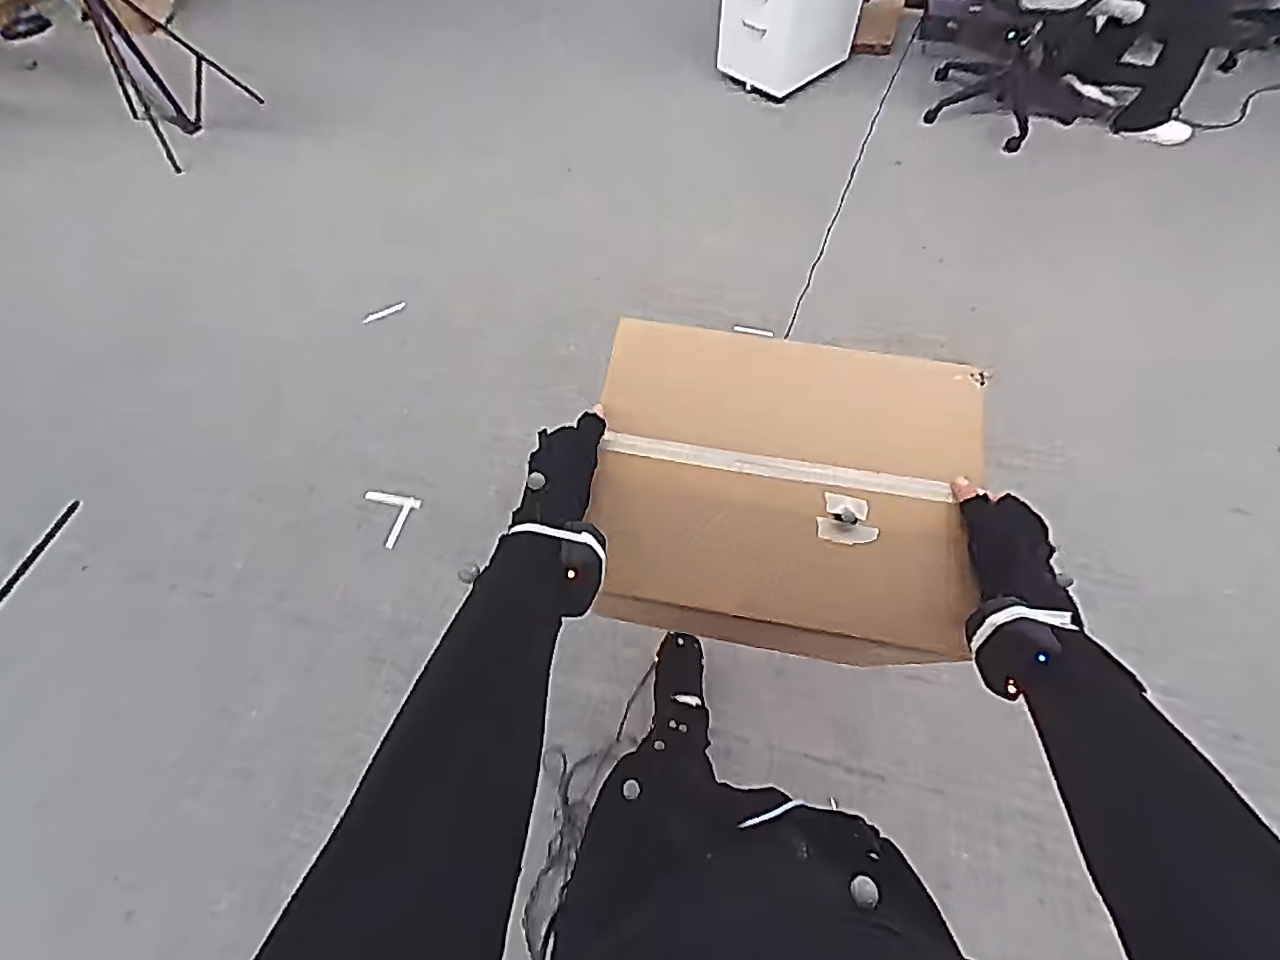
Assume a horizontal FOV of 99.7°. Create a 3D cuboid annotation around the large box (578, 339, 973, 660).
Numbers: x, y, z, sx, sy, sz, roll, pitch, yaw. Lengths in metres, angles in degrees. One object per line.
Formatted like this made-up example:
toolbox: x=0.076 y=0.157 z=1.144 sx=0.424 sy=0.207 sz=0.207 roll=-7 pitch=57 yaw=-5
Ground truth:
large box: x=0.154 y=0.048 z=0.727 sx=0.408 sy=0.320 sz=0.320 roll=9 pitch=72 yaw=4
